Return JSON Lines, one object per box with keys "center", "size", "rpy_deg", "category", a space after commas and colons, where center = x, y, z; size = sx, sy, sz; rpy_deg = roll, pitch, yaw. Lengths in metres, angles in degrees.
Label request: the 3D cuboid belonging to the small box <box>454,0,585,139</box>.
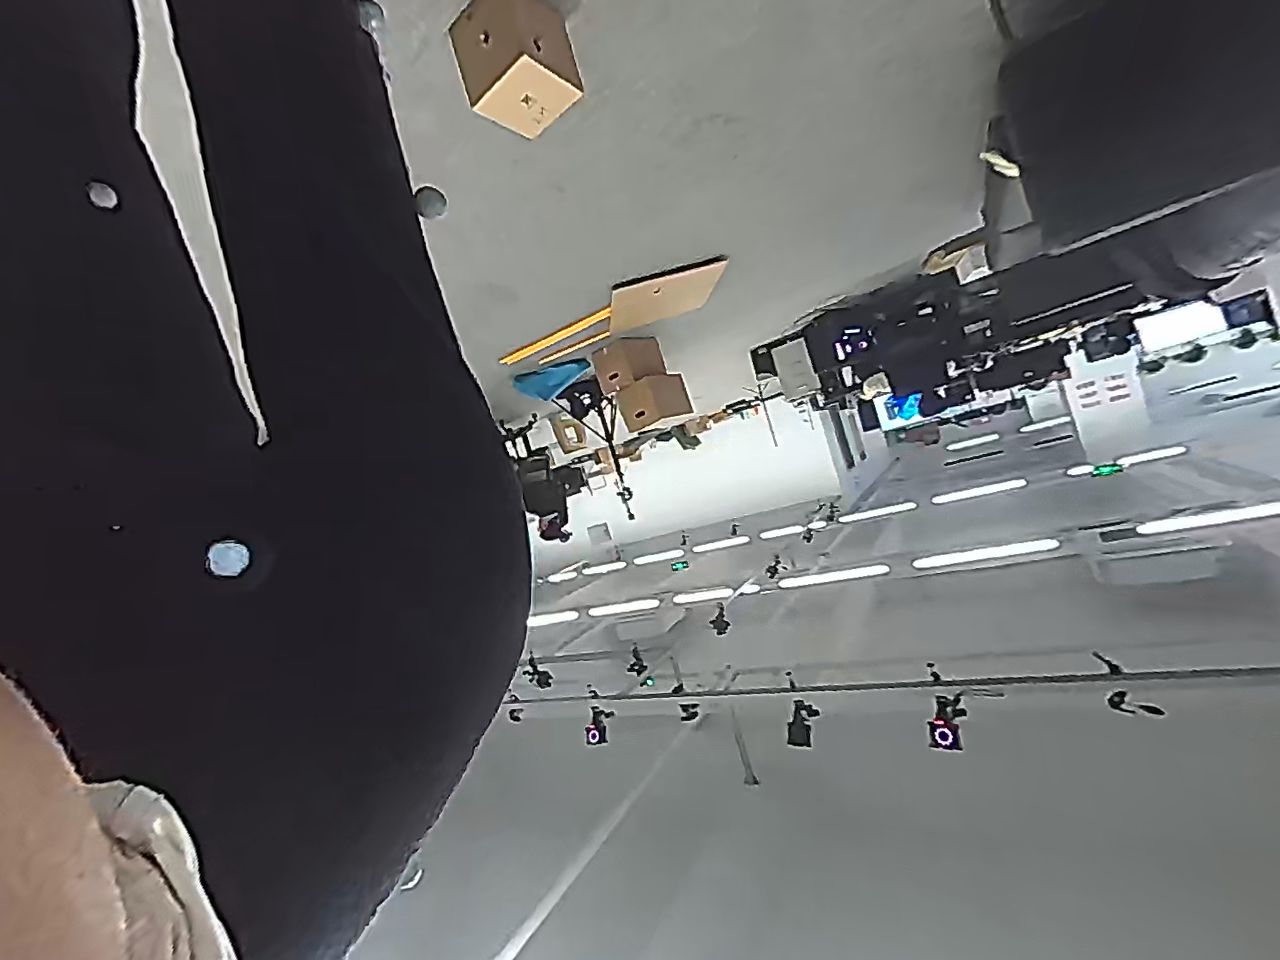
{"center": [-0.247, -0.847, 1.095], "size": [0.168, 0.176, 0.179], "rpy_deg": [-16, -179, 35], "category": "small box"}
